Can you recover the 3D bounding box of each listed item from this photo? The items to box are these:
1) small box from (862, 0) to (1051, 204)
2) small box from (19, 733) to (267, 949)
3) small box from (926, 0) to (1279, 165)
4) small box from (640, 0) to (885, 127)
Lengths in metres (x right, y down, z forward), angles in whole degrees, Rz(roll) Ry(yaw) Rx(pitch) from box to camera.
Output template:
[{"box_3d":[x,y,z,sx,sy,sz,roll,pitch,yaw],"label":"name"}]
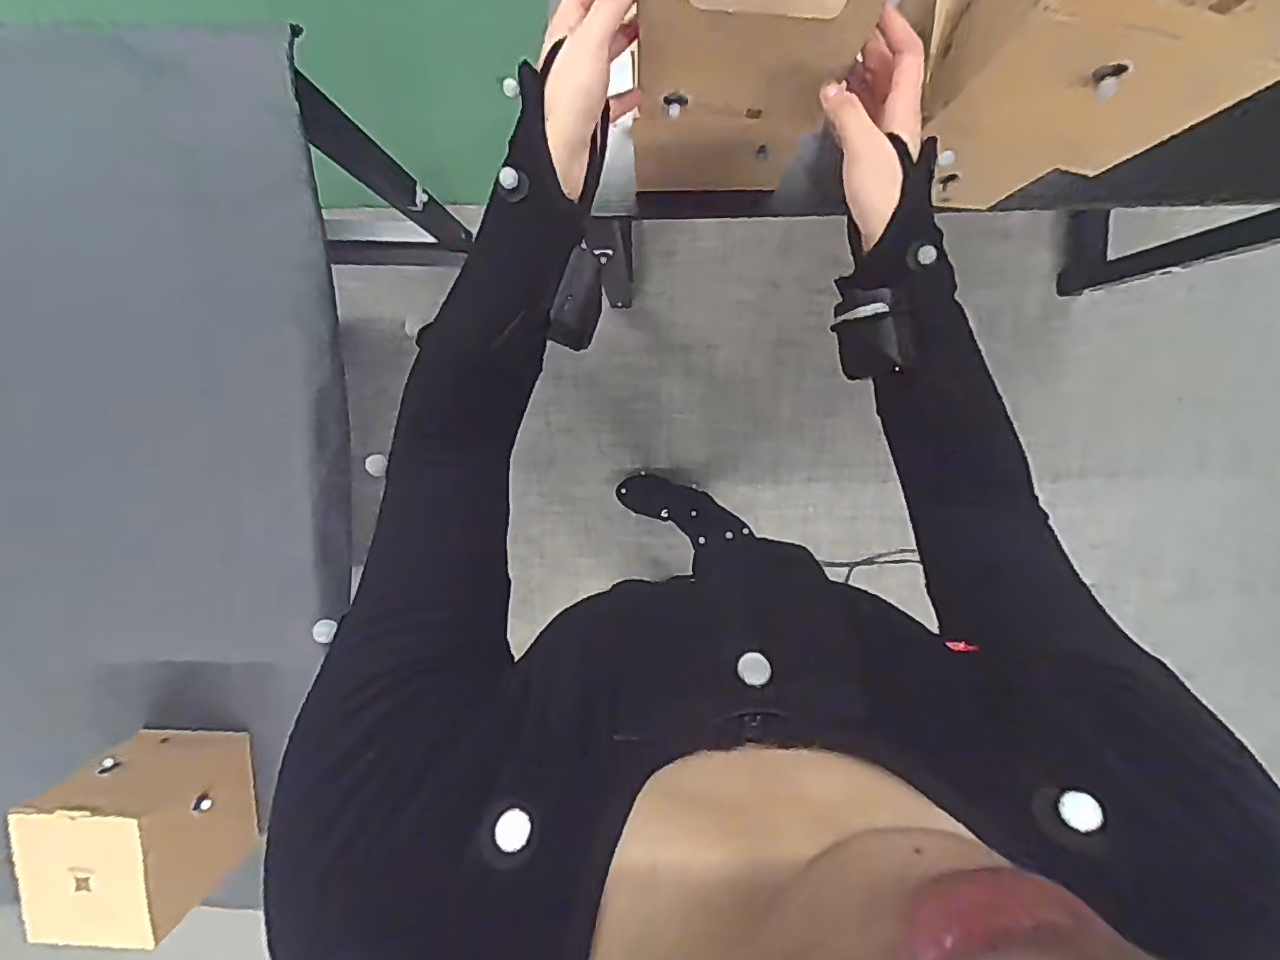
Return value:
[{"box_3d":[0.351,-0.410,0.567,0.168,0.176,0.179,4,98,0],"label":"small box"},{"box_3d":[-0.635,0.460,0.714,0.168,0.176,0.179,0,98,4],"label":"small box"},{"box_3d":[0.359,-0.368,0.409,0.179,0.176,0.168,12,98,0],"label":"small box"},{"box_3d":[0.090,-0.400,0.404,0.168,0.176,0.179,5,95,0],"label":"small box"}]
